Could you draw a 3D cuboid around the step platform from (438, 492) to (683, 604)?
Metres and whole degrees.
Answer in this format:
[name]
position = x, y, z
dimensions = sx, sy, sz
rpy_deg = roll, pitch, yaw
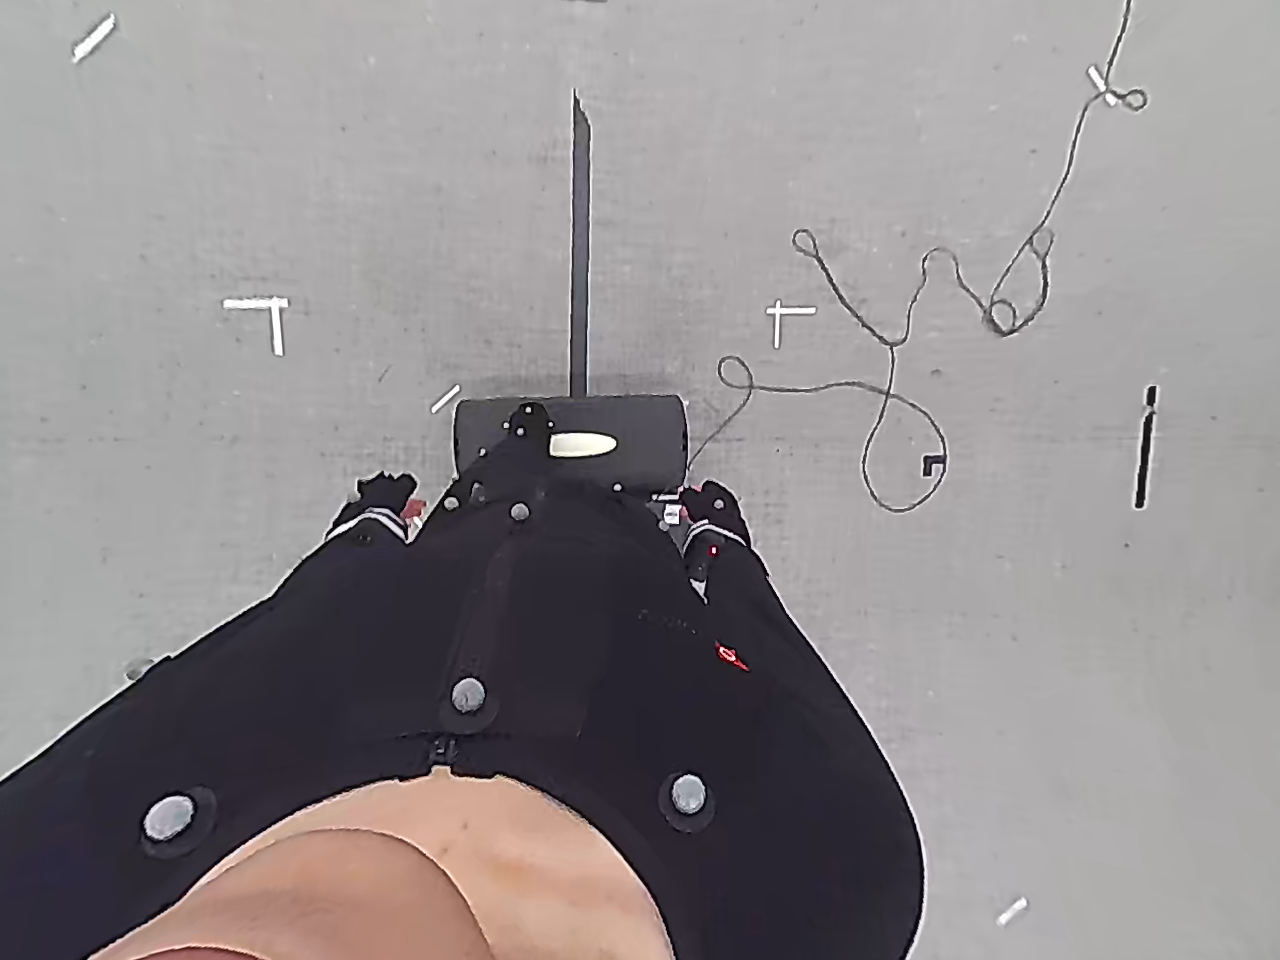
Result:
[step platform]
position = -0.218, 0.192, 1.556
dimensions = 0.684, 0.204, 0.286
rpy_deg = -1, 94, -3
